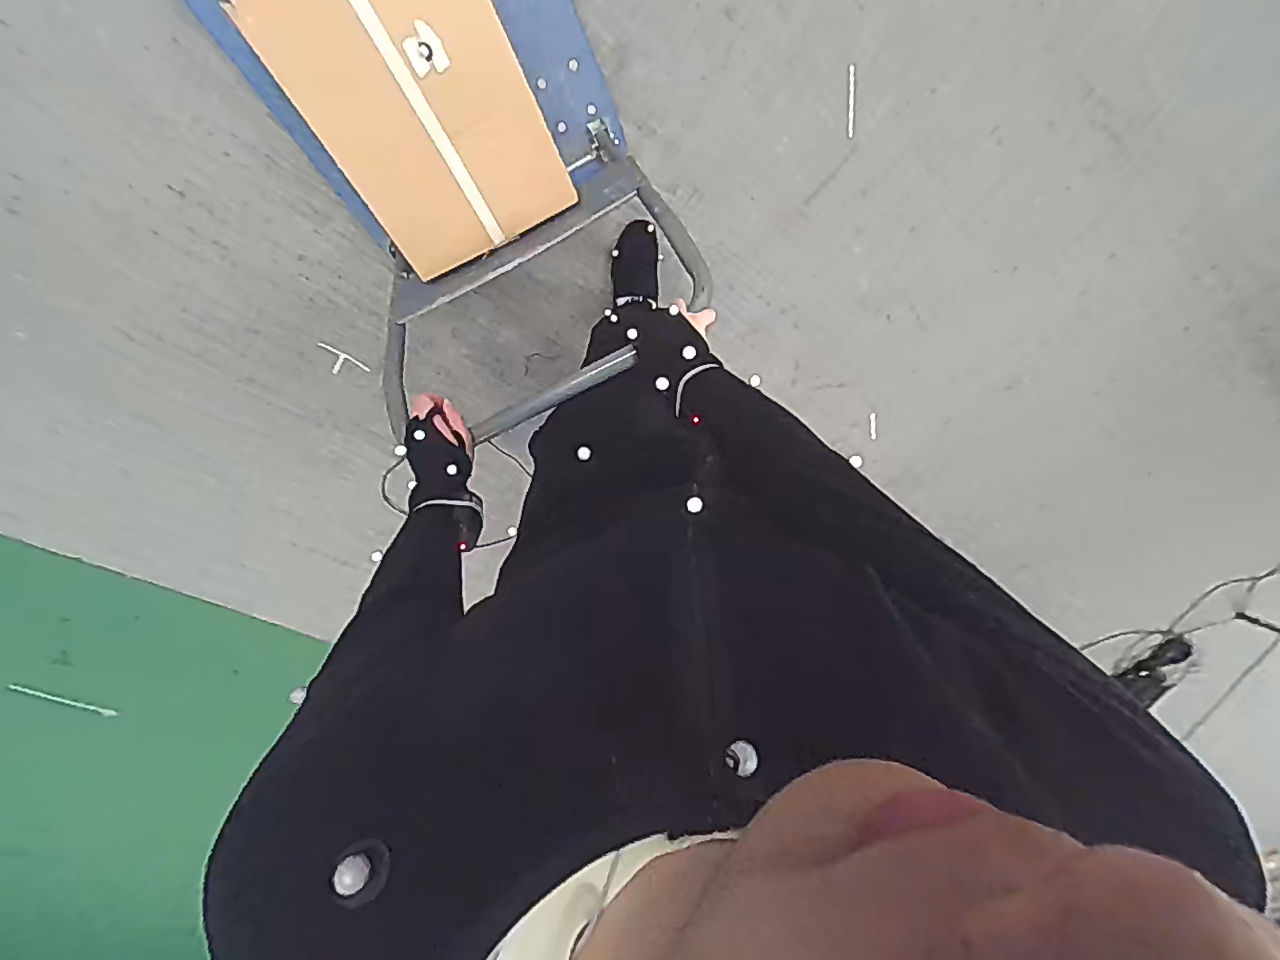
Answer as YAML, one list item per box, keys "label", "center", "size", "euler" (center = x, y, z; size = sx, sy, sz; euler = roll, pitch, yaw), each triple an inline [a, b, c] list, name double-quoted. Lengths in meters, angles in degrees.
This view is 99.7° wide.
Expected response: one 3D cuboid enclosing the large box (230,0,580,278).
- label: "large box"
  center: [-0.342, -0.636, 0.911]
  size: [0.320, 0.320, 0.408]
  euler: [-25, 133, 6]
